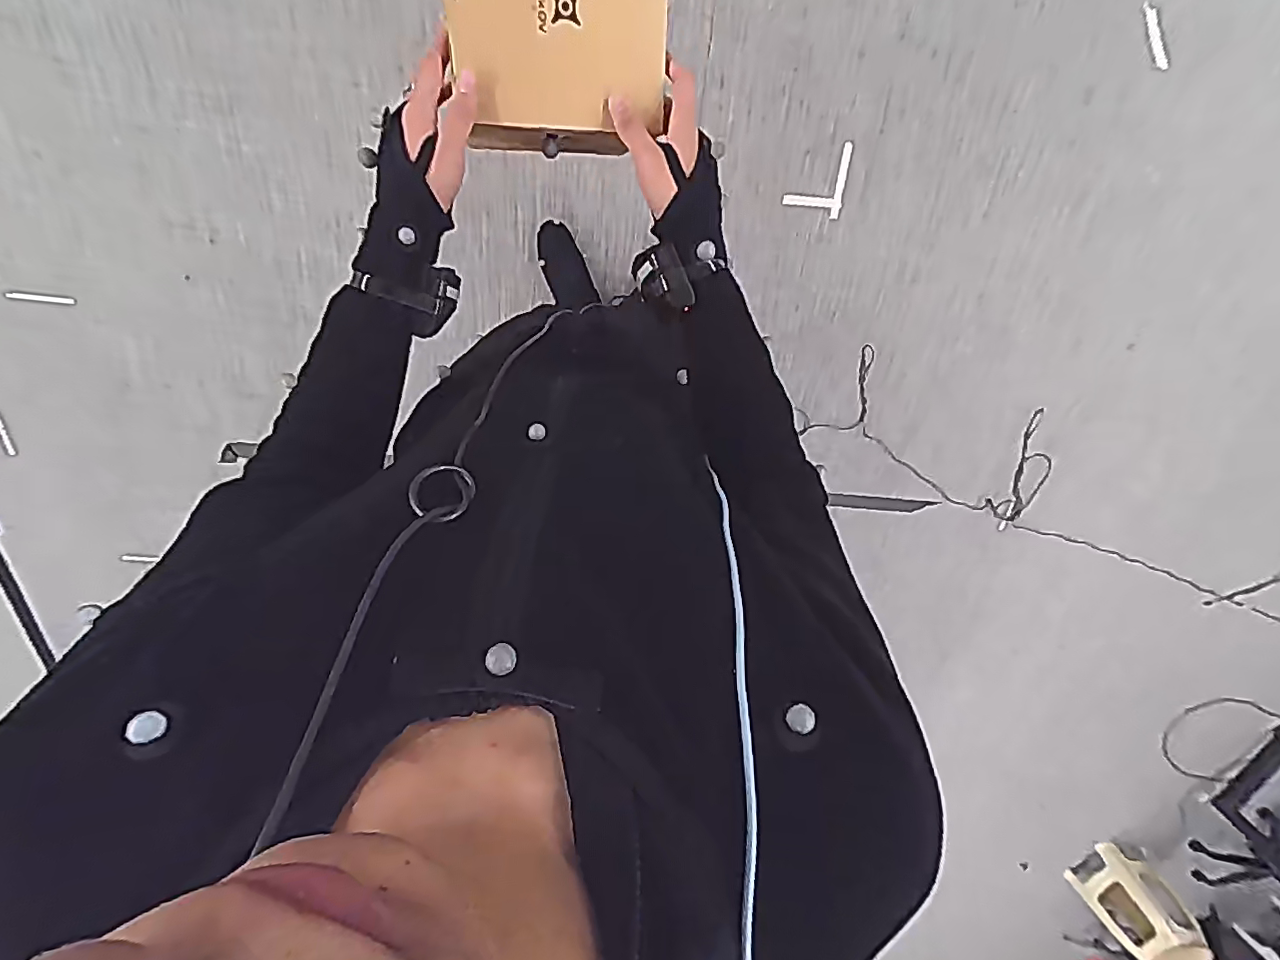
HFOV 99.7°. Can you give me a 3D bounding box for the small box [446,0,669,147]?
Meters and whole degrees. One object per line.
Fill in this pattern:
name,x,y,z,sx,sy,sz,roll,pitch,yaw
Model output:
small box,-0.078,-0.408,0.489,0.179,0.176,0.168,-4,117,-11
